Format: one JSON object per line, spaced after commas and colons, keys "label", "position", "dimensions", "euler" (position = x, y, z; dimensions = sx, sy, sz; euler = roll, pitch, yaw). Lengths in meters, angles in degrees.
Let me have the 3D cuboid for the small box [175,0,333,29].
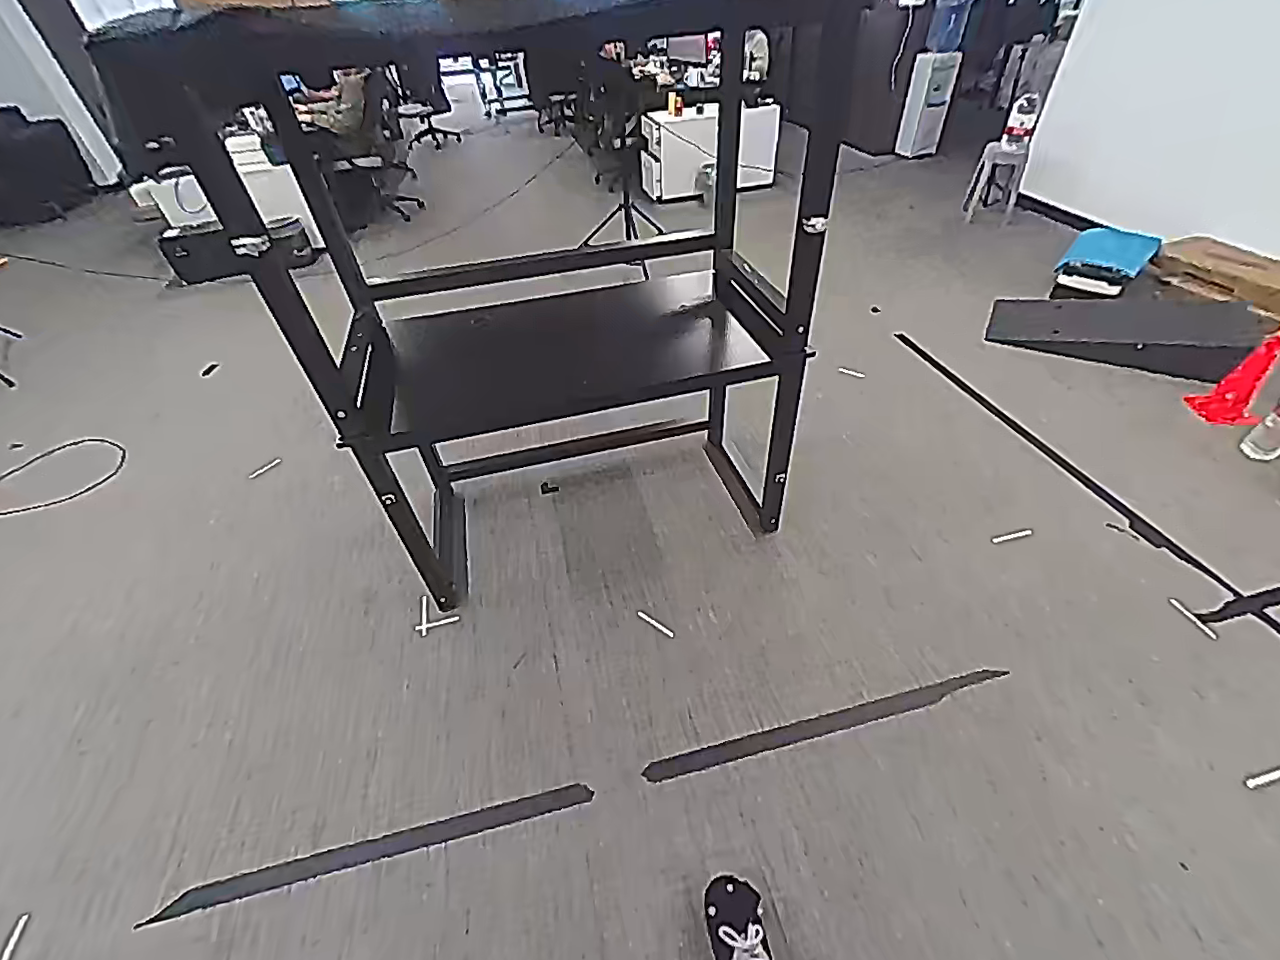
{"label": "small box", "position": [-0.609, -0.798, 0.818], "dimensions": [0.179, 0.176, 0.168], "euler": [-6, 40, -2]}
